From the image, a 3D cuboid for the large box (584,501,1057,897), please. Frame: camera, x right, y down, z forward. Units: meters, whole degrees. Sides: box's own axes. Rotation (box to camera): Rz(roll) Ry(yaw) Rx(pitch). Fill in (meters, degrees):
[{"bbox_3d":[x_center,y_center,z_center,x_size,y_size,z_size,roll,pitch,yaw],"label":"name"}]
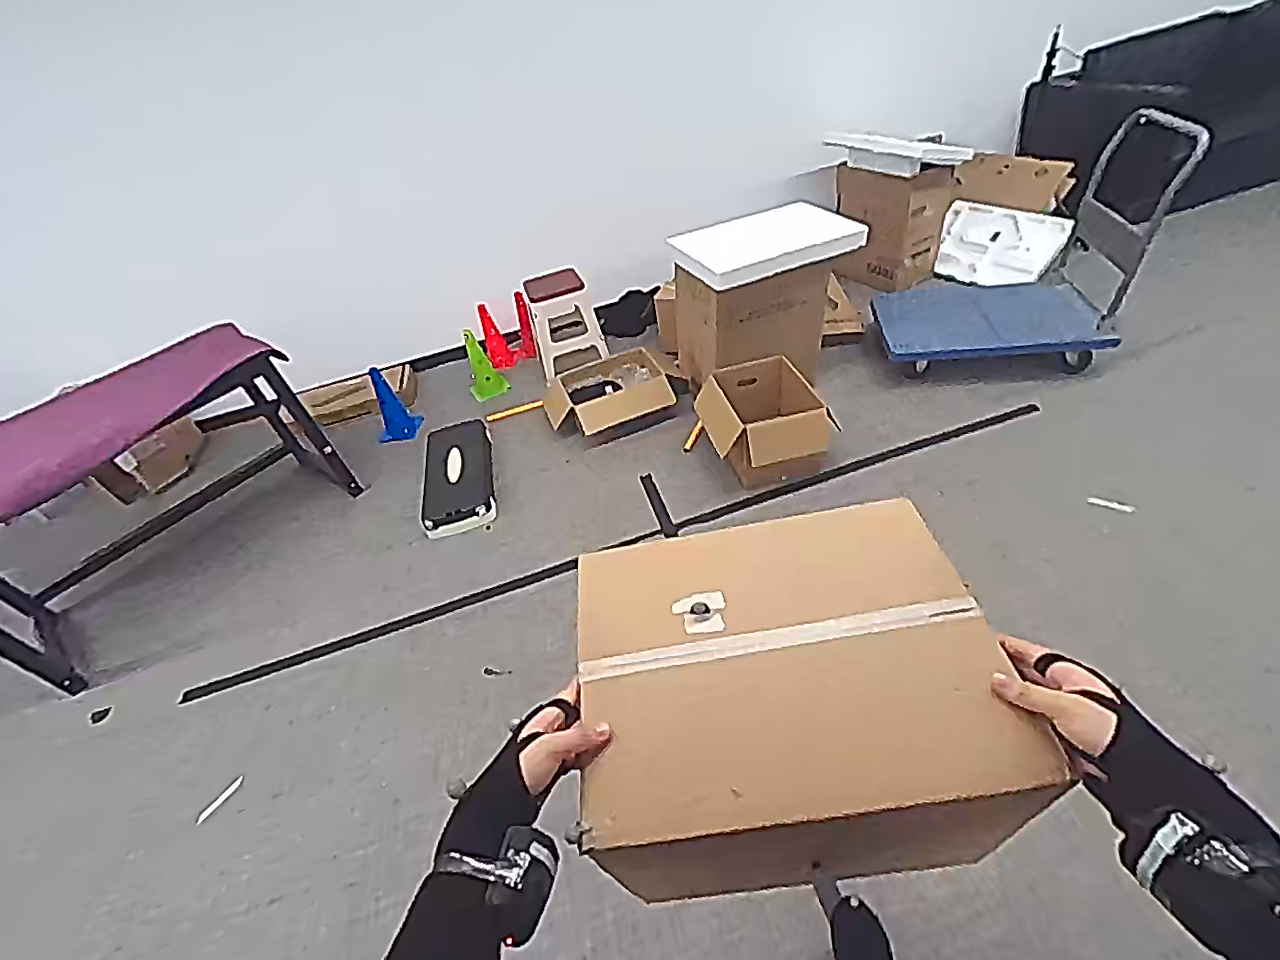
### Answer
[{"bbox_3d":[0.168,0.274,0.664,0.408,0.320,0.320,-12,43,5],"label":"large box"}]
